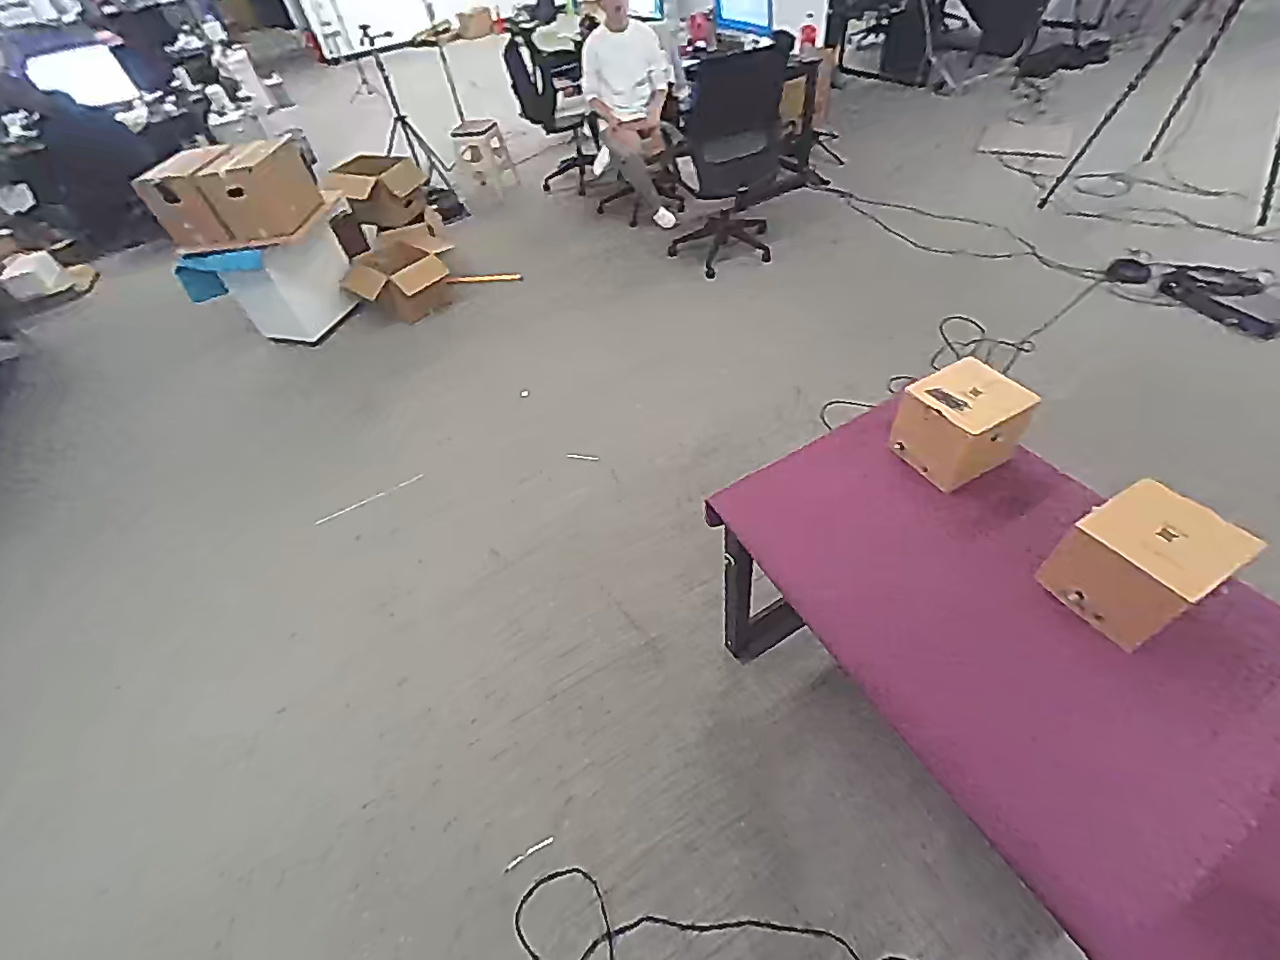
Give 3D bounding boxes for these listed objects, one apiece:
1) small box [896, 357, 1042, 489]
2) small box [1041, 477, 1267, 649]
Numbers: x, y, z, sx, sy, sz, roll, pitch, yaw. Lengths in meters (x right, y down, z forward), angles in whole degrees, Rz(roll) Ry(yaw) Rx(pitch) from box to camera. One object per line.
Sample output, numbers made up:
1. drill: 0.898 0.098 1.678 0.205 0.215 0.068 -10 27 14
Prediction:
1. small box: 0.647 -0.111 1.093 0.179 0.176 0.168 -25 50 -12
2. small box: 0.793 0.133 0.859 0.179 0.176 0.168 -26 49 -13
